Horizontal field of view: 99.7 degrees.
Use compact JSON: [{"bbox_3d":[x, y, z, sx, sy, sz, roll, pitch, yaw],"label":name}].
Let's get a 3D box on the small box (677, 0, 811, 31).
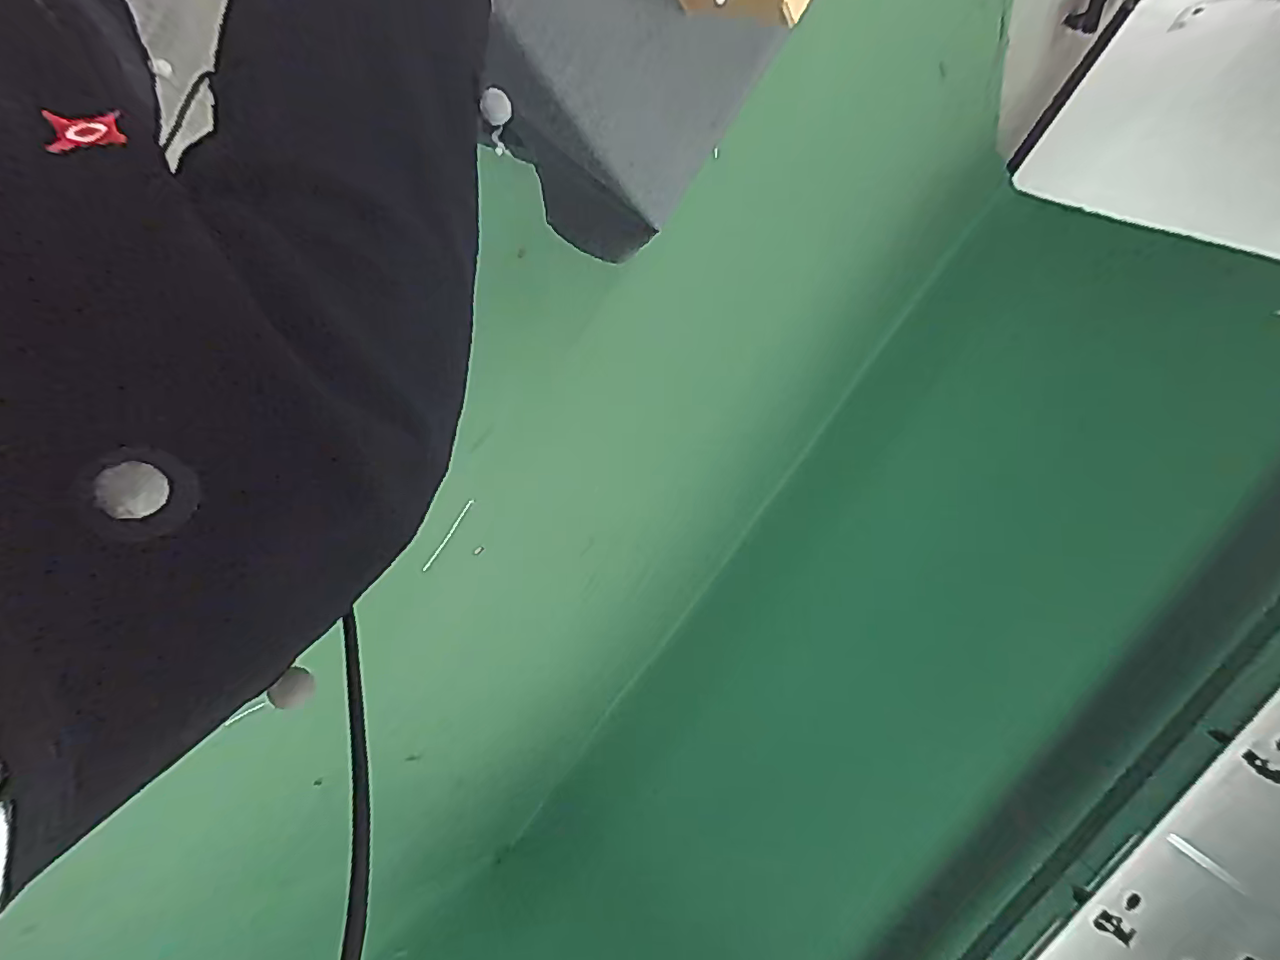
[{"bbox_3d":[0.111,-0.616,0.552,0.168,0.176,0.179,12,111,-58],"label":"small box"}]
